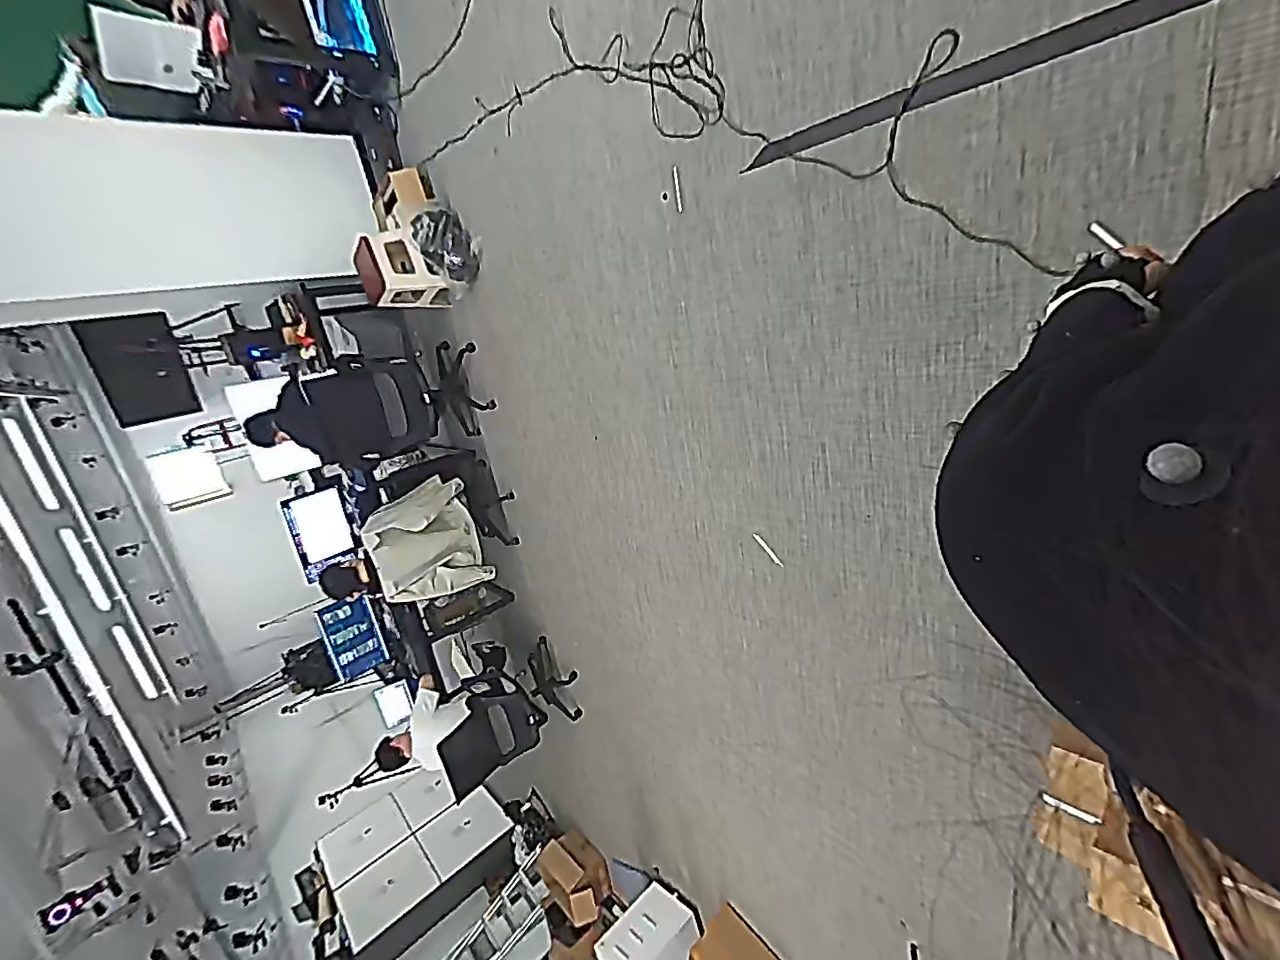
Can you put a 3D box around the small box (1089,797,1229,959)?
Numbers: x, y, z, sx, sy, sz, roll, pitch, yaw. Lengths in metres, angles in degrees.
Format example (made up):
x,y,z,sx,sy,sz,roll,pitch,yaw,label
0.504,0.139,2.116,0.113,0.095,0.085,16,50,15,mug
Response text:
x,y,z,sx,sy,sz,roll,pitch,yaw,label
1.016,0.771,1.060,0.179,0.176,0.168,9,113,49,small box
